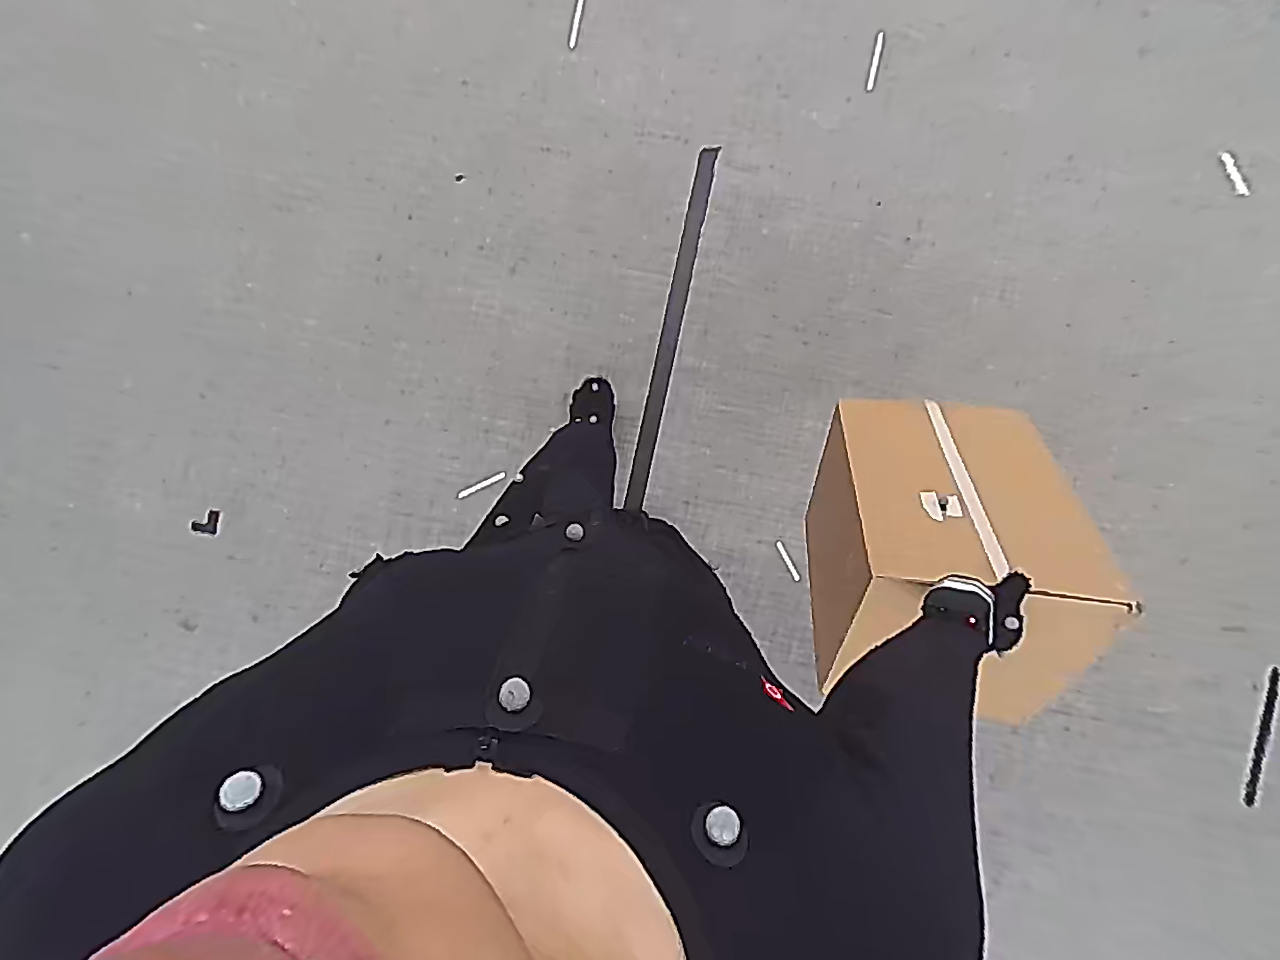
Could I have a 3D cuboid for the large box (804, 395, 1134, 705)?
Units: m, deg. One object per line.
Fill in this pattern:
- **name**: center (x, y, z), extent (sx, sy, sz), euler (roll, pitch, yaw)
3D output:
- **large box**: center (0.479, 0.105, 0.916), extent (0.320, 0.408, 0.320), euler (5, 135, 7)
